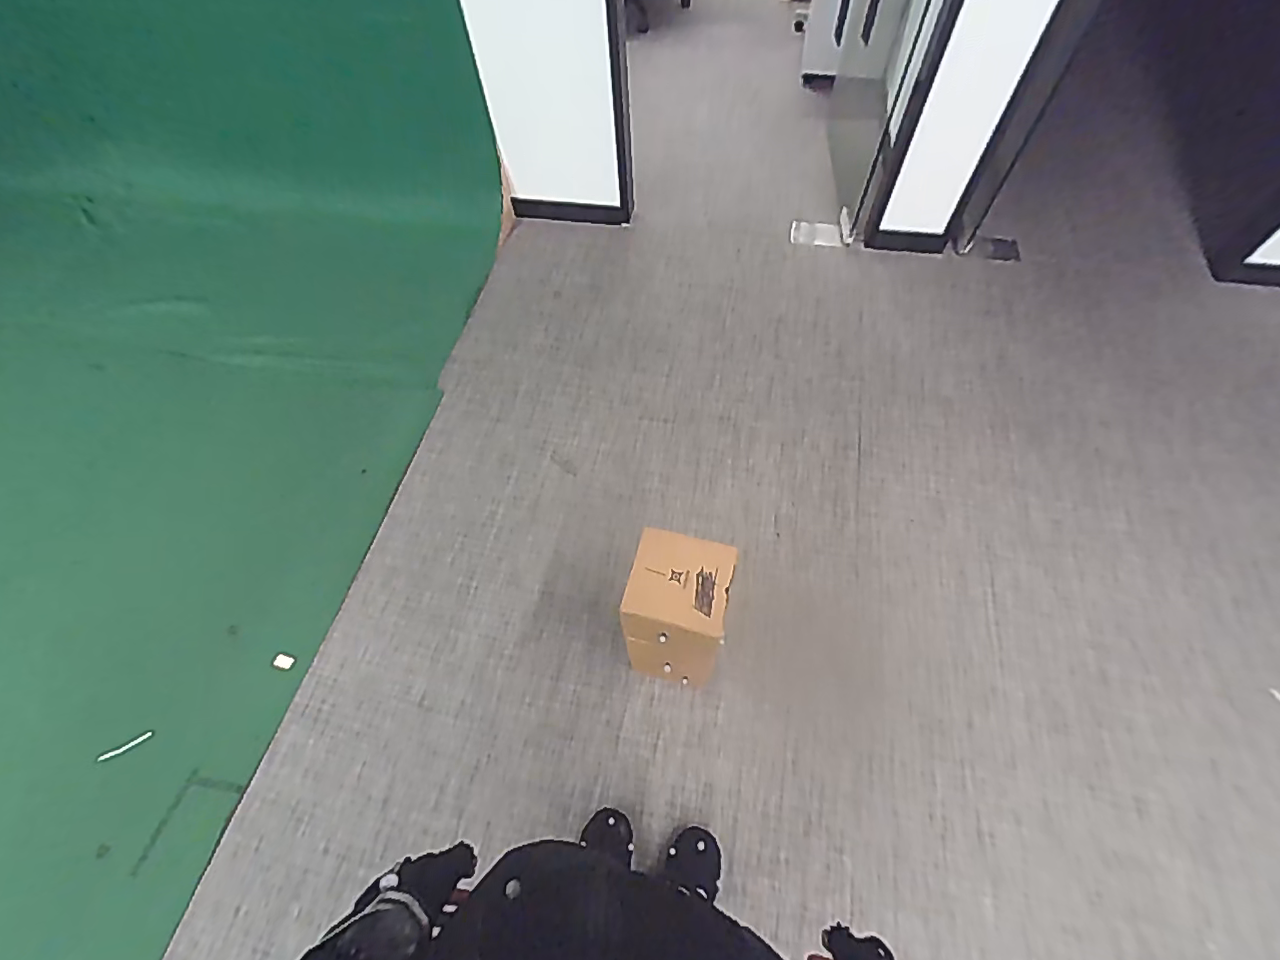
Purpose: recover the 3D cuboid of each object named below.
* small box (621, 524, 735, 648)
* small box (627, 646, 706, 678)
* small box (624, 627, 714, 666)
[{"bbox_3d":[0.071,0.205,1.014,0.179,0.176,0.168,11,61,7],"label":"small box"},{"bbox_3d":[0.077,0.367,1.299,0.179,0.176,0.168,9,61,9],"label":"small box"},{"bbox_3d":[0.074,0.288,1.156,0.179,0.176,0.168,12,61,9],"label":"small box"}]
